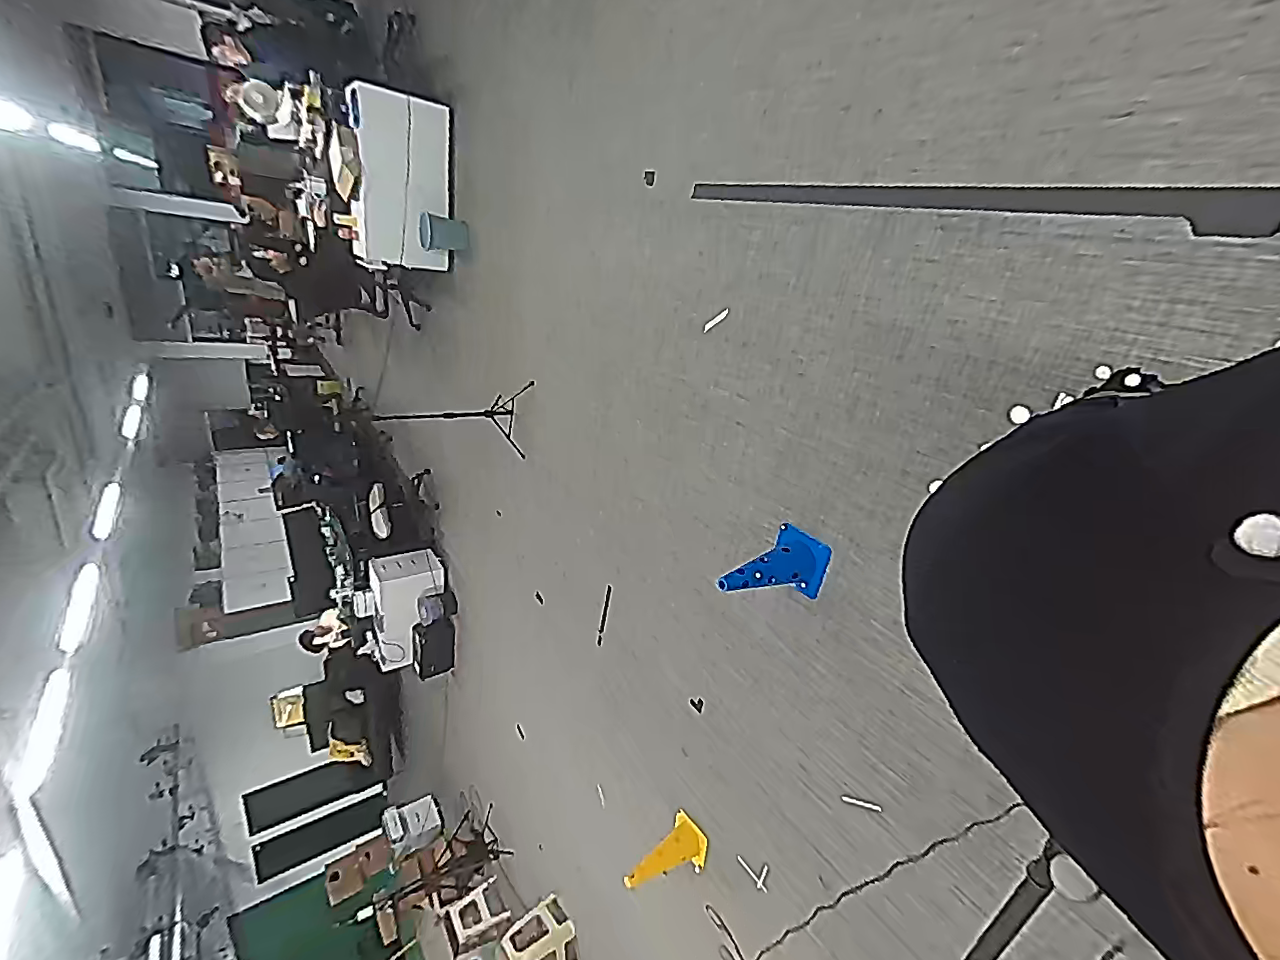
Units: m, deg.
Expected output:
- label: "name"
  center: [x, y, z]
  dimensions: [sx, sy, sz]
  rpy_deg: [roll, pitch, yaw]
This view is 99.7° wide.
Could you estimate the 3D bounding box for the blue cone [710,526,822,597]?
- label: "blue cone"
  center: [0.372, 0.285, 1.676]
  dimensions: [0.192, 0.380, 0.193]
  rpy_deg: [37, 125, 45]
